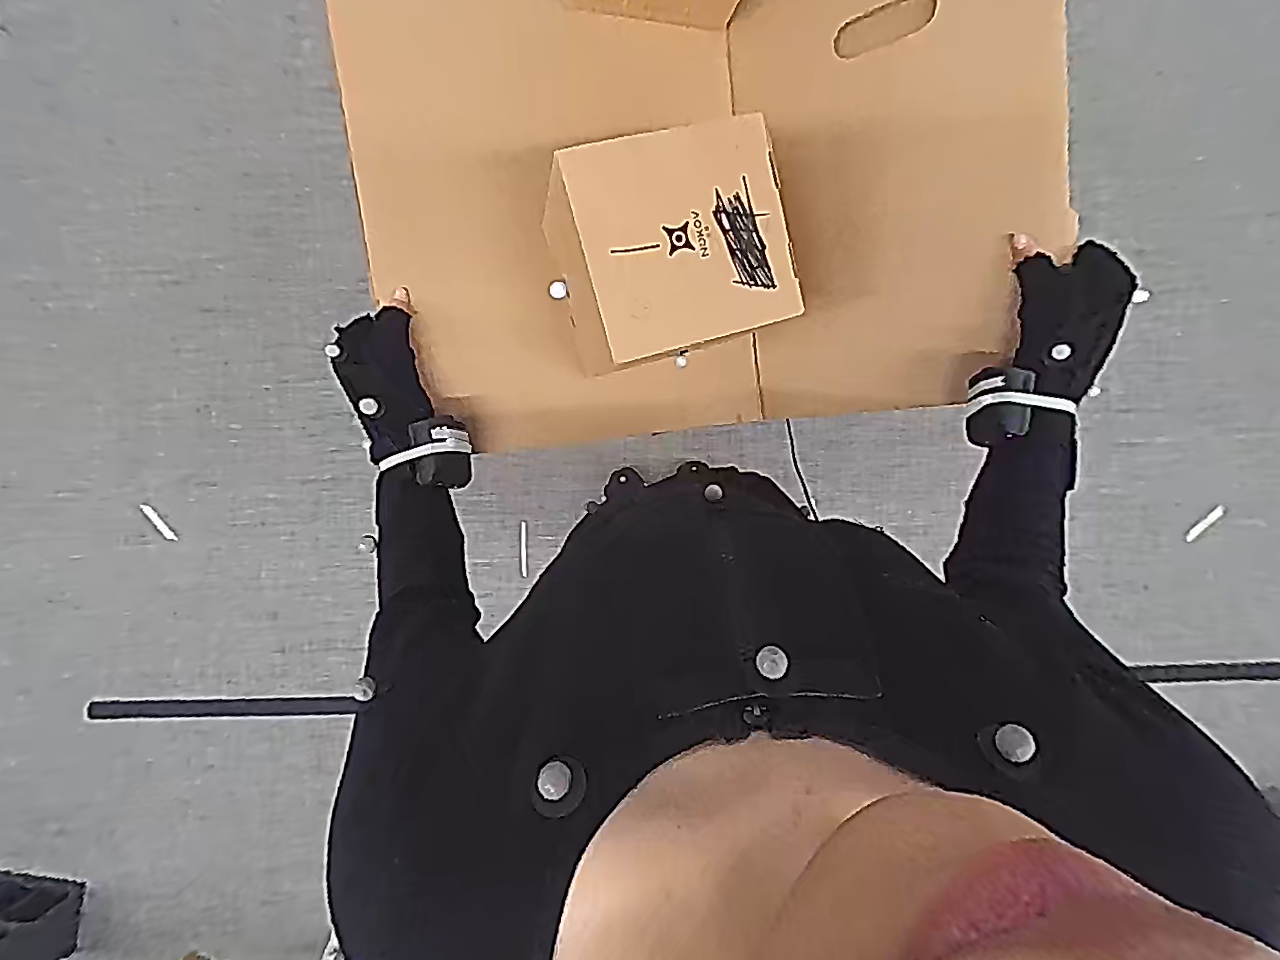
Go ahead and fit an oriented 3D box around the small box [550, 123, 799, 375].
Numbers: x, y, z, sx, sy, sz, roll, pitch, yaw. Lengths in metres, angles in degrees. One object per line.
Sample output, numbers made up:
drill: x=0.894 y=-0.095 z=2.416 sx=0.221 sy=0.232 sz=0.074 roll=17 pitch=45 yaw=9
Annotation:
small box: x=0.022 y=-0.205 z=0.522 sx=0.179 sy=0.176 sz=0.168 roll=-17 pitch=99 yaw=-11
